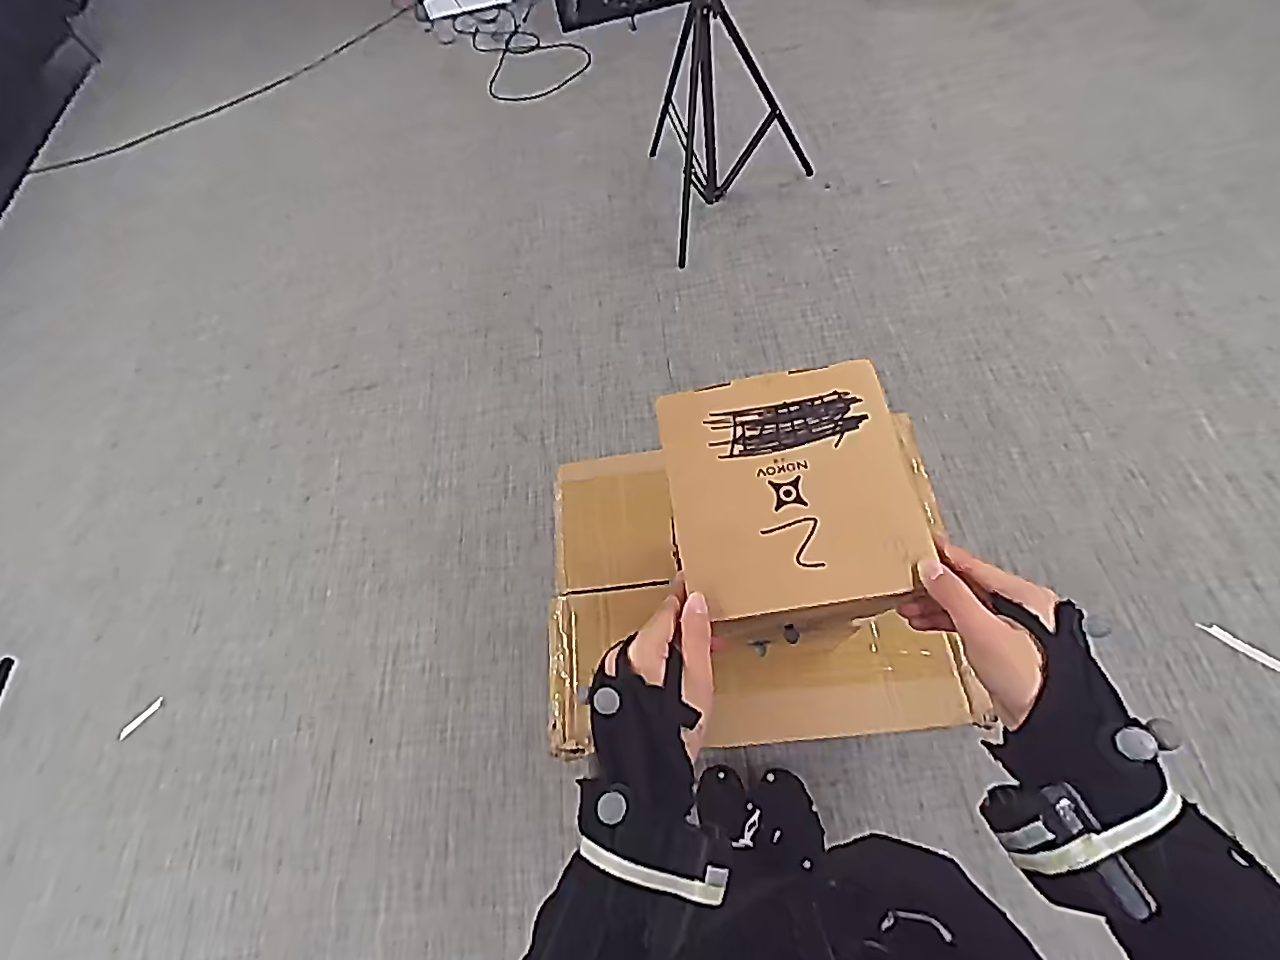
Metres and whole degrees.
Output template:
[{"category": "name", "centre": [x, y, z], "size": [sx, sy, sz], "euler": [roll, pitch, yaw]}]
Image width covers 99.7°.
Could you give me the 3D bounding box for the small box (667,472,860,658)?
[{"category": "small box", "centre": [0.134, 0.108, 0.630], "size": [0.179, 0.176, 0.168], "euler": [-8, 65, 6]}]
